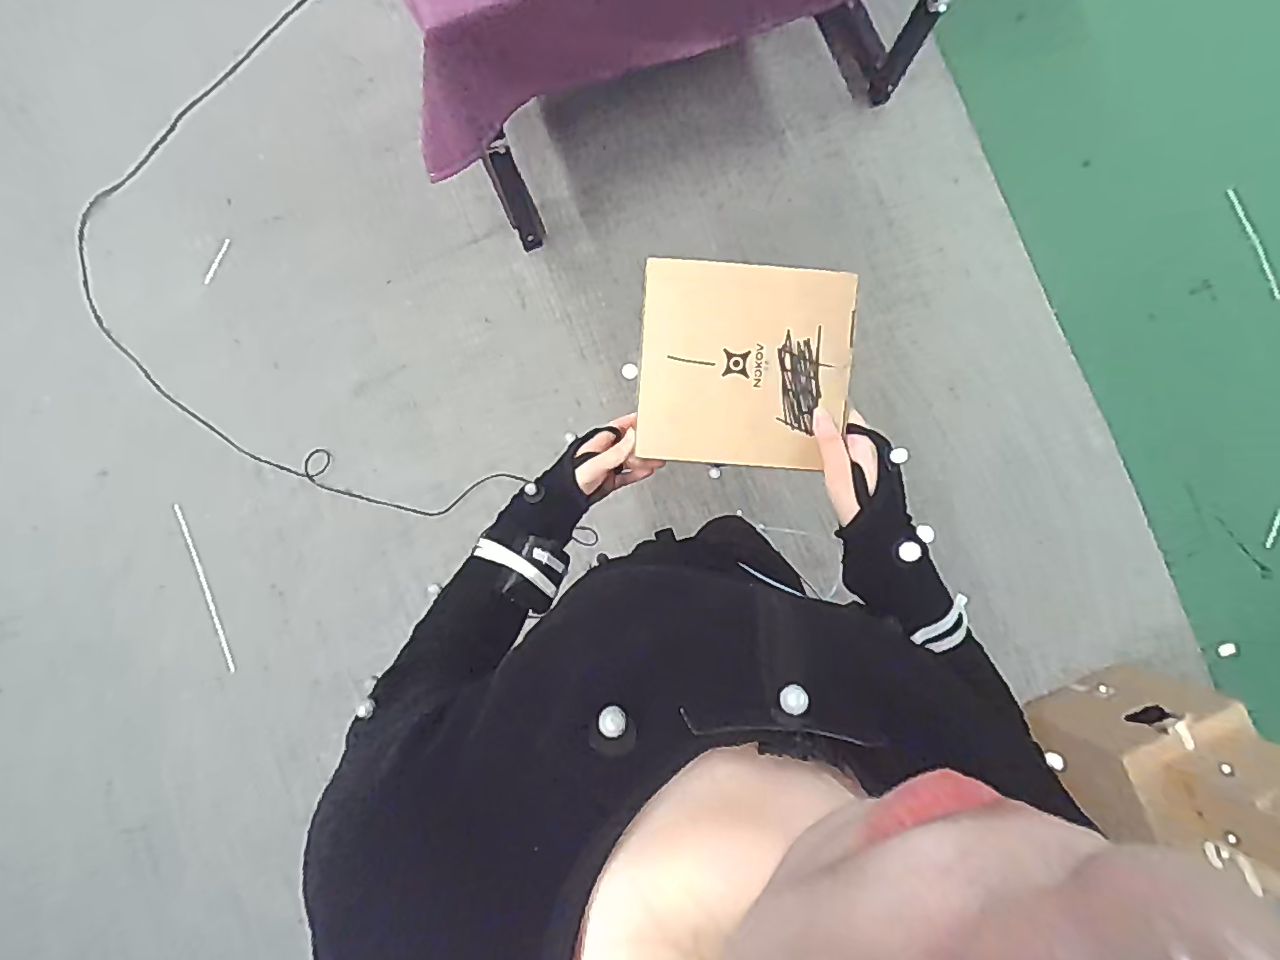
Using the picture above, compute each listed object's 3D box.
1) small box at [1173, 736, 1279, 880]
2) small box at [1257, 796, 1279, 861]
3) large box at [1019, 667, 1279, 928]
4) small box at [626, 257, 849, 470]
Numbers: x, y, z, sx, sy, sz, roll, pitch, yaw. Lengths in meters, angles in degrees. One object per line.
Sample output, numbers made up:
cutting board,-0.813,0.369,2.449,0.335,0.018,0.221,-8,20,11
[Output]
small box,1.255,0.659,1.102,0.179,0.176,0.168,-23,88,-4
small box,1.262,0.654,0.938,0.168,0.176,0.179,-27,88,-3
large box,1.257,0.747,1.340,0.320,0.320,0.408,-22,88,-3
small box,0.079,-0.100,0.527,0.179,0.176,0.168,3,93,-1
